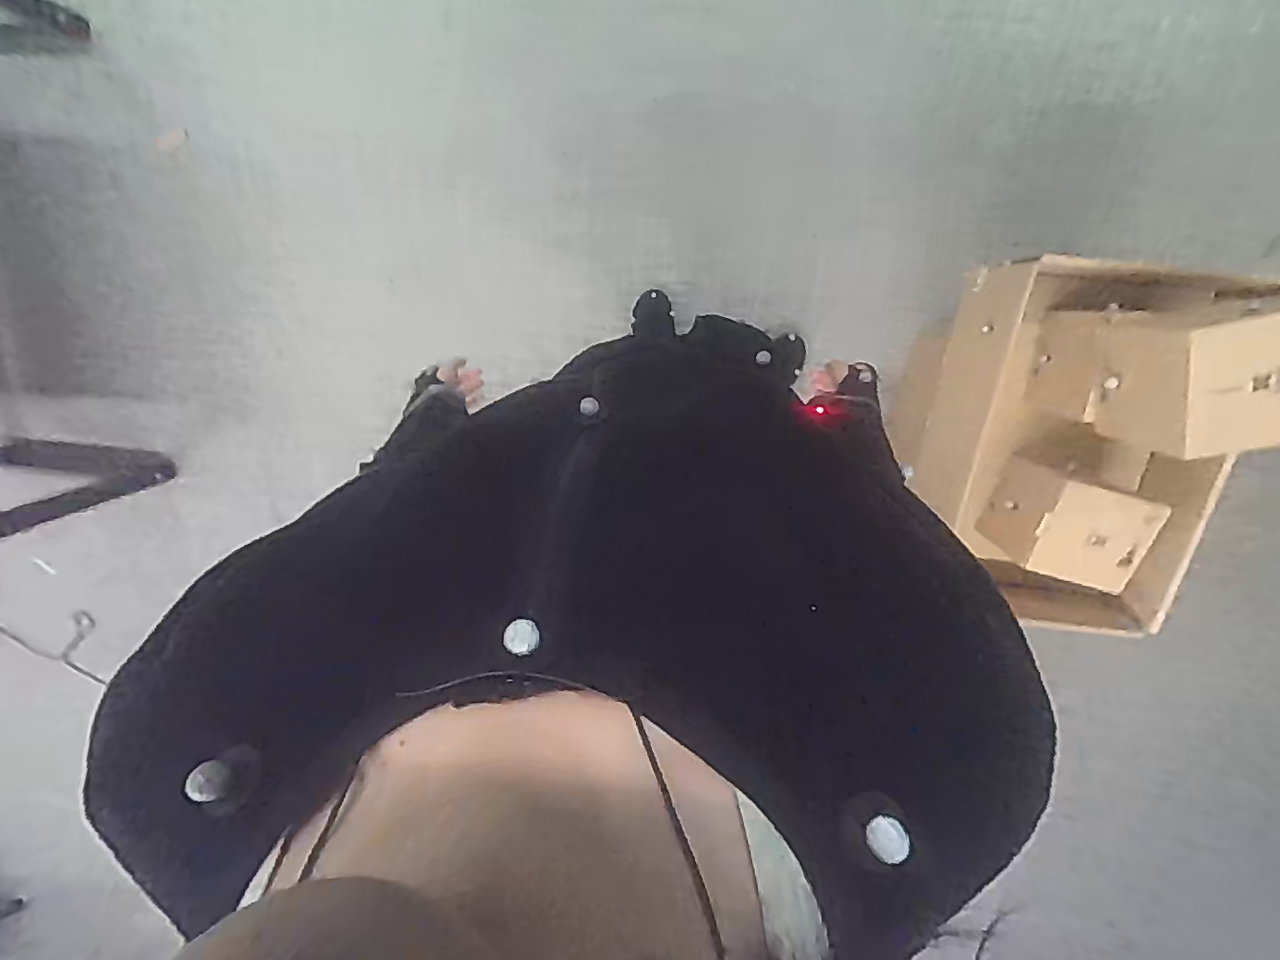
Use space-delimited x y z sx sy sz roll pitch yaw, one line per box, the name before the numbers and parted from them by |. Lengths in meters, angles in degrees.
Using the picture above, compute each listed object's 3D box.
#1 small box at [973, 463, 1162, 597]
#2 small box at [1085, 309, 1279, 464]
small box | 0.747 0.079 0.973 0.179 0.176 0.168 16 108 0
small box | 0.757 -0.134 0.732 0.179 0.176 0.168 -10 106 9
